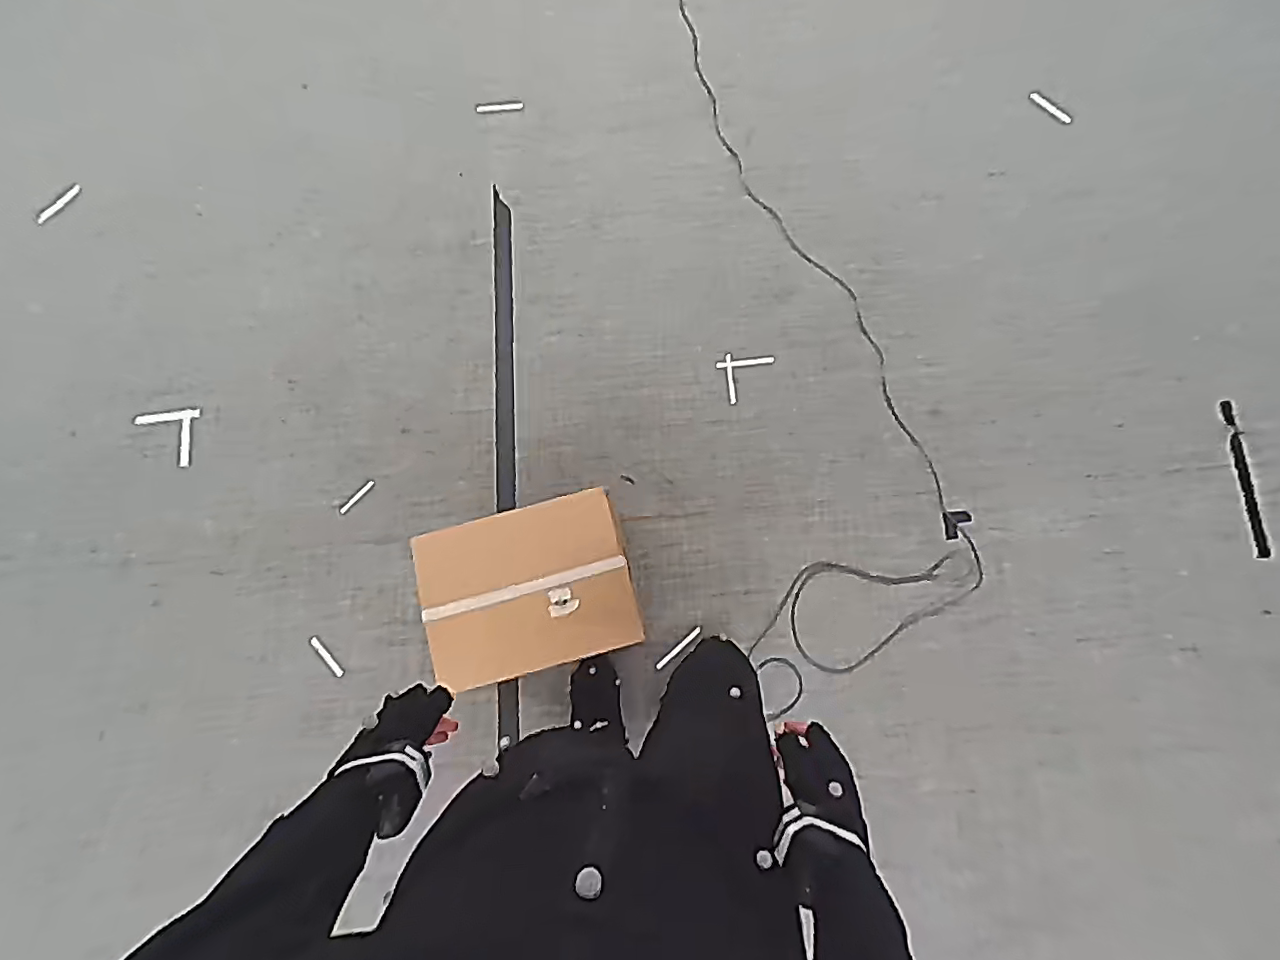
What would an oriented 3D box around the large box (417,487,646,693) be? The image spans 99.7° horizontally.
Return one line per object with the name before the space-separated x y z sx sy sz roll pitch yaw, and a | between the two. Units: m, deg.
large box | -0.219 0.242 1.208 0.408 0.320 0.320 -15 79 -2
